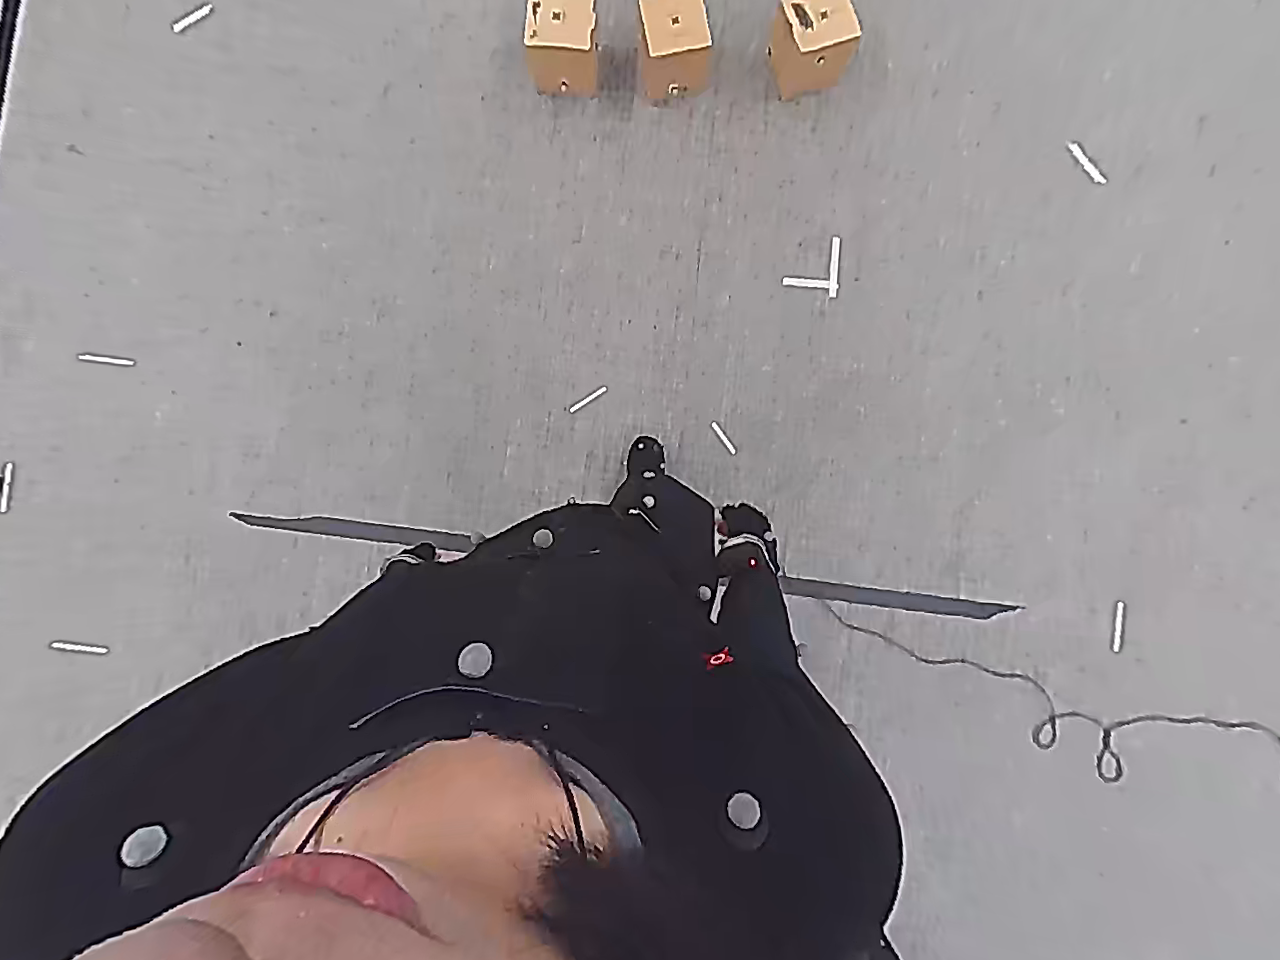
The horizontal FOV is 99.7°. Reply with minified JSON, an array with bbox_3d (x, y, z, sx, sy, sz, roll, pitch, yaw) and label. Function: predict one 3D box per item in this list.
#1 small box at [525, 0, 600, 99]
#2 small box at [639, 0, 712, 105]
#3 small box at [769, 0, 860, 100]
[{"bbox_3d":[-0.205,-1.184,1.480,0.179,0.176,0.168,6,88,0],"label":"small box"},{"bbox_3d":[0.092,-1.181,1.481,0.168,0.176,0.179,-12,89,0],"label":"small box"},{"bbox_3d":[0.466,-1.190,1.482,0.179,0.176,0.168,-19,88,-2],"label":"small box"}]
